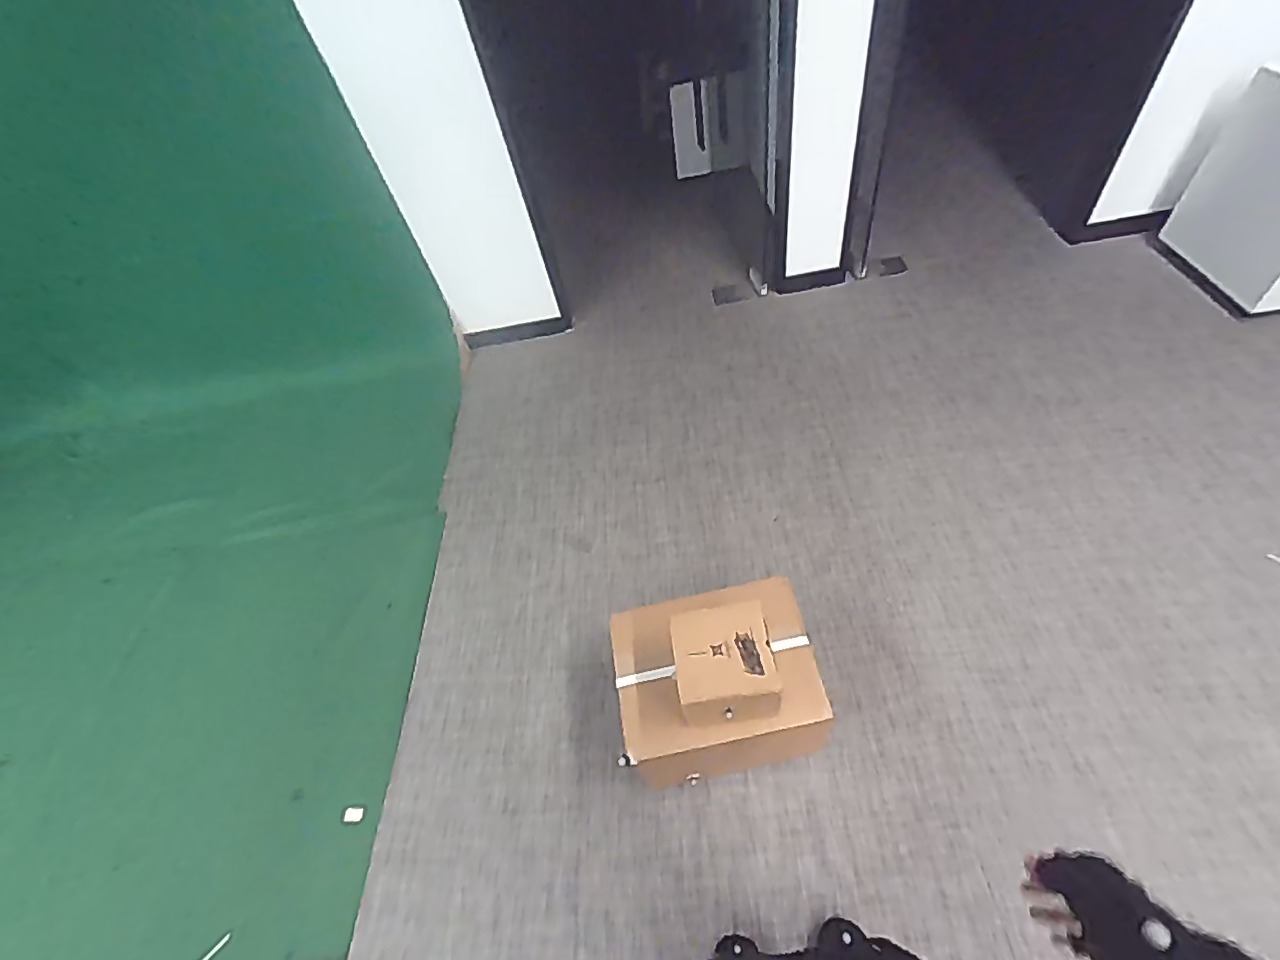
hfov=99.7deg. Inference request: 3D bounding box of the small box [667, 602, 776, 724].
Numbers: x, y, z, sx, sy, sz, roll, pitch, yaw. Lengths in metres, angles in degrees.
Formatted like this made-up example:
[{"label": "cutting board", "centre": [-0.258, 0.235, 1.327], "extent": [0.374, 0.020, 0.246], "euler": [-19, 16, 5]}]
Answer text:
[{"label": "small box", "centre": [0.154, 0.355, 1.036], "extent": [0.179, 0.176, 0.168], "euler": [-10, 51, 5]}]
